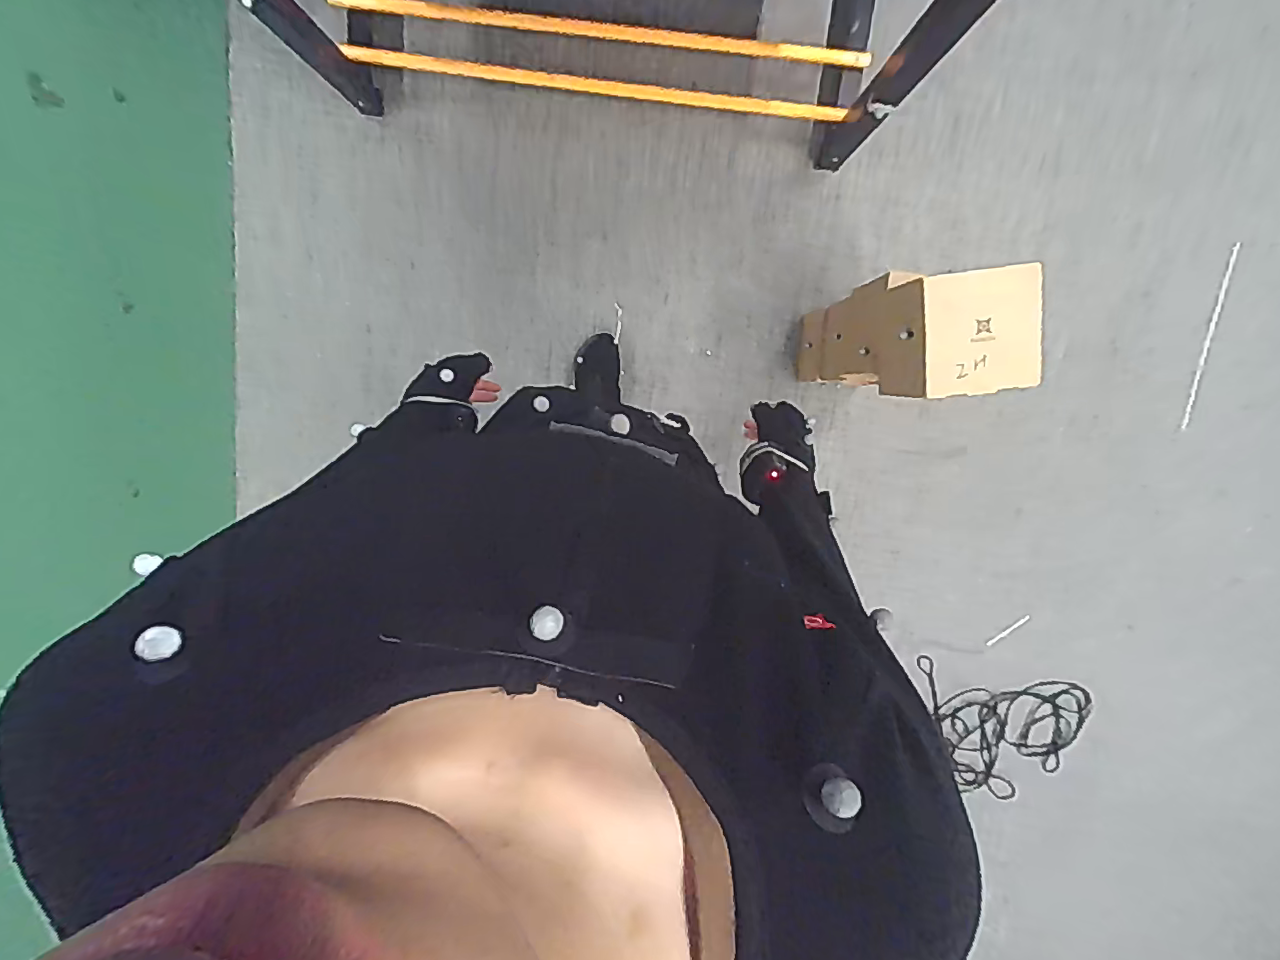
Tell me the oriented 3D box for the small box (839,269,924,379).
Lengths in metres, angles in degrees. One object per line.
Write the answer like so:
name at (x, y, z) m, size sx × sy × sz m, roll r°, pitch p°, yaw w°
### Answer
small box at (0.488, -0.276, 1.005) m, size 0.168 × 0.176 × 0.179 m, roll 7°, pitch 101°, yaw 0°

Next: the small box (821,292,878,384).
small box at (0.503, -0.300, 1.166) m, size 0.168 × 0.176 × 0.179 m, roll 4°, pitch 100°, yaw 0°

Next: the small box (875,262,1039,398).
small box at (0.483, -0.226, 0.848) m, size 0.168 × 0.176 × 0.179 m, roll -6°, pitch 101°, yaw 2°
